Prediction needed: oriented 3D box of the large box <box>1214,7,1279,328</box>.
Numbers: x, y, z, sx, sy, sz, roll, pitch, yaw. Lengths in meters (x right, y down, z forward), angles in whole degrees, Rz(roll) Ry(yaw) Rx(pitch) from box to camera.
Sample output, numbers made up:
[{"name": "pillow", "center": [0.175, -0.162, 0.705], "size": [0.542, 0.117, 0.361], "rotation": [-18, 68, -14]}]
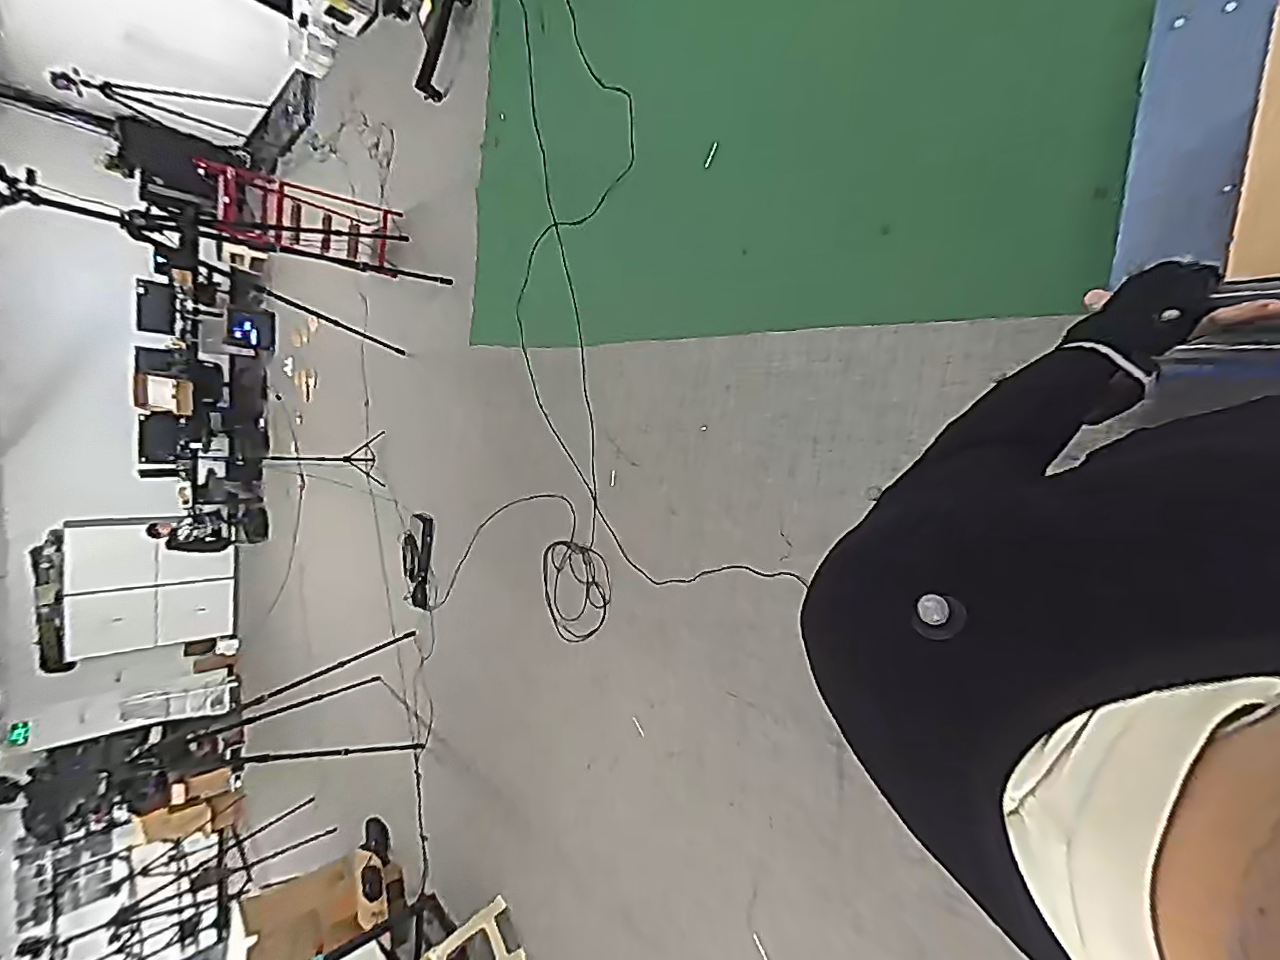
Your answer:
[{"name": "large box", "center": [1.113, -0.472, 0.808], "size": [0.320, 0.320, 0.408], "rotation": [9, 95, 43]}]
